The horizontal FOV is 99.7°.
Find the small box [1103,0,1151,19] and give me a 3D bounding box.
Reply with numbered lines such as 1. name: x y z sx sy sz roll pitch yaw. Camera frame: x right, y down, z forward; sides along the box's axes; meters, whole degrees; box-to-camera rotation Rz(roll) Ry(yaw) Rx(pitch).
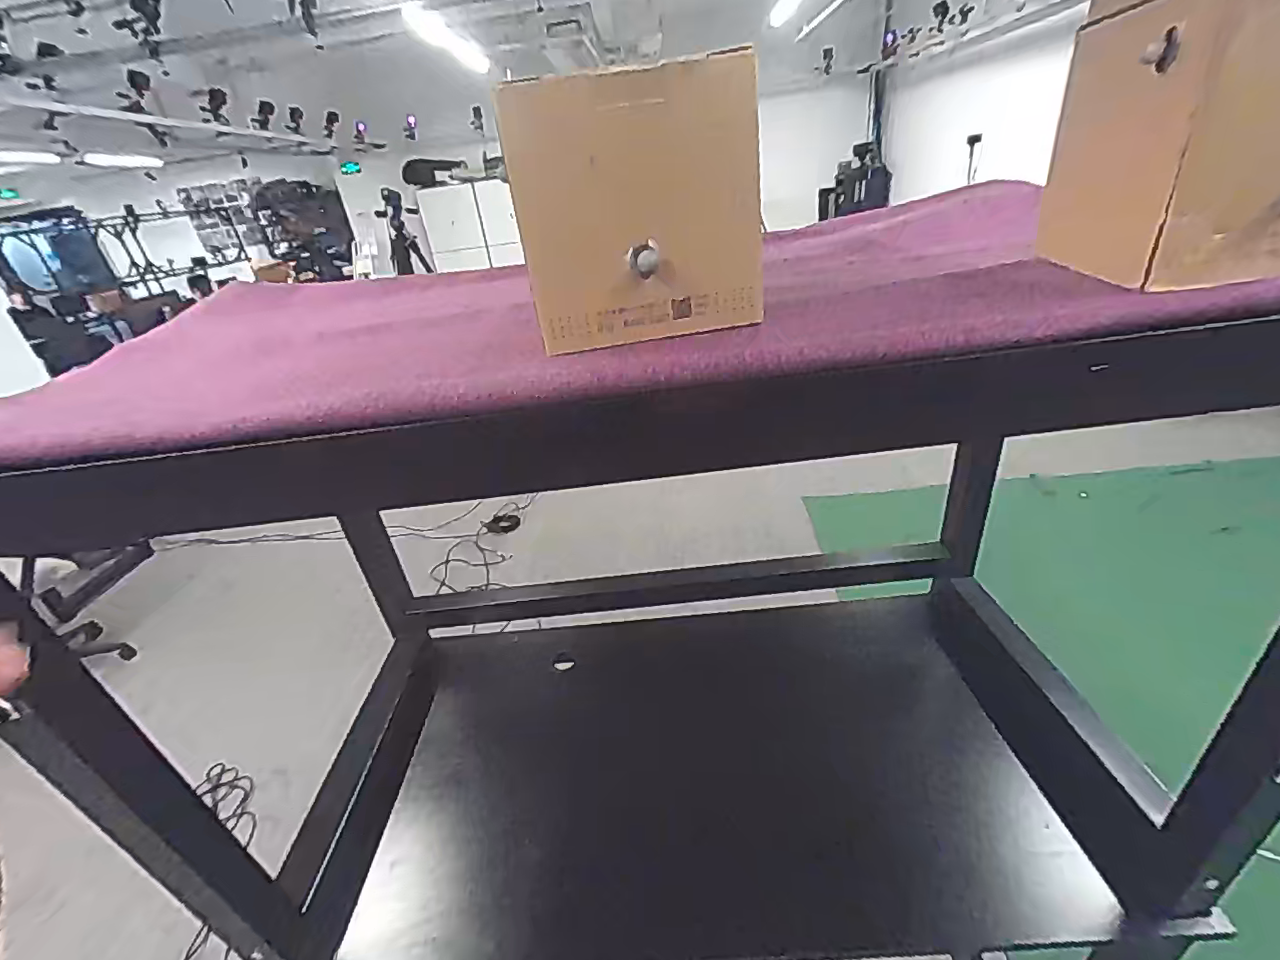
1. small box: 0.389 -0.365 0.278 0.168 0.176 0.179 -1 32 17

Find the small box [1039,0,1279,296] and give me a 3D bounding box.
1. small box: 0.409 -0.229 0.364 0.168 0.176 0.179 -1 31 13
